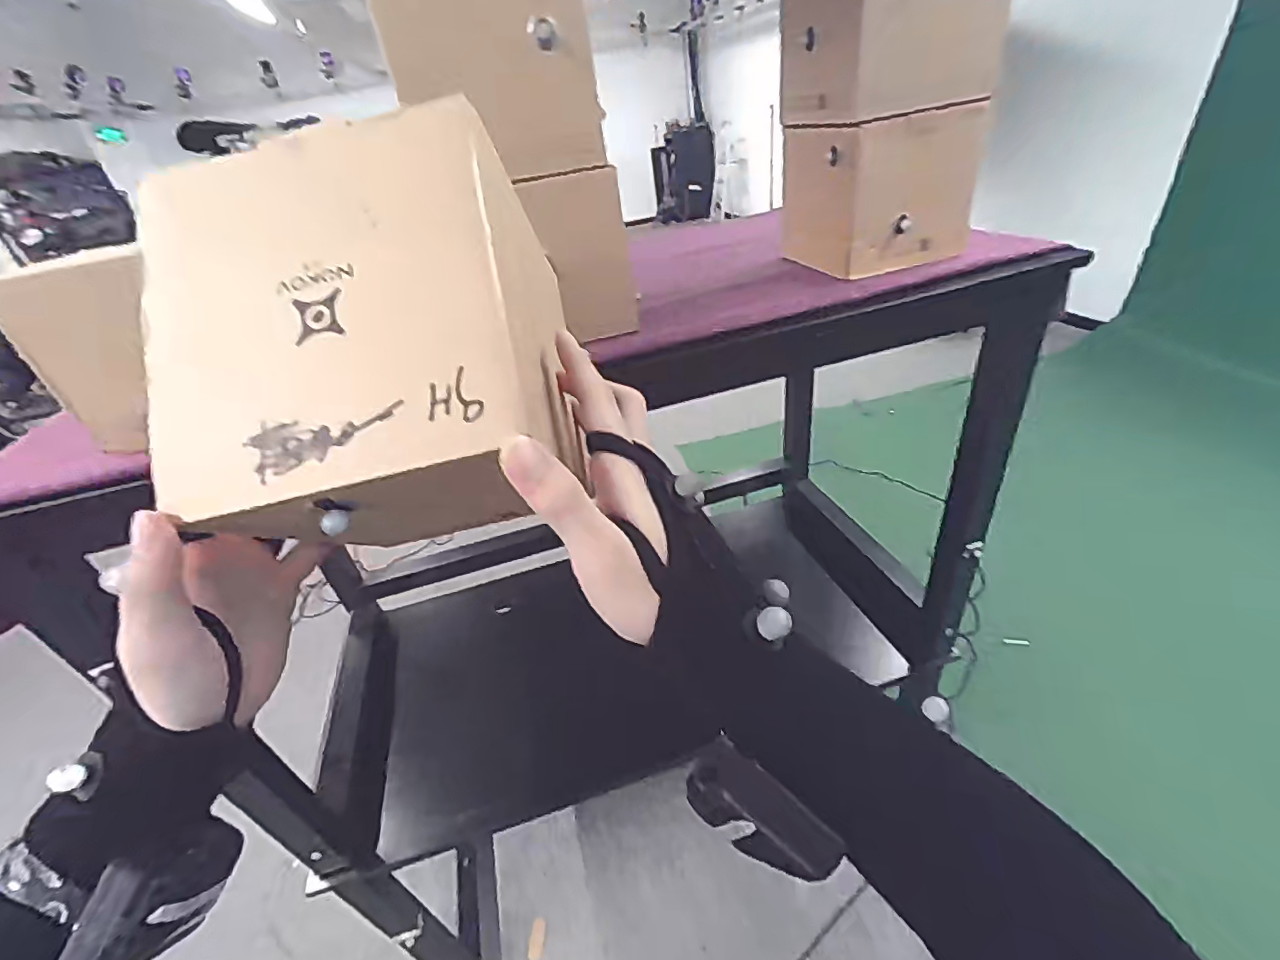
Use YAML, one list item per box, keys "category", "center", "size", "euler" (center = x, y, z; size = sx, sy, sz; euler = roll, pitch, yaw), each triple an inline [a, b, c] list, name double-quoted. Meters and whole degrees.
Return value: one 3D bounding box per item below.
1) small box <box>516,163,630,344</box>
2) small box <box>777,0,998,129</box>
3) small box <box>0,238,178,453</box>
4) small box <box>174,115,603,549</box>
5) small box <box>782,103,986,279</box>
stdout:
- category: "small box"
  center: [-0.115, -0.253, 0.624]
  size: [0.179, 0.176, 0.168]
  euler: [-16, 33, -7]
- category: "small box"
  center: [0.267, -0.499, 0.597]
  size: [0.179, 0.176, 0.168]
  euler: [-16, 36, -8]
- category: "small box"
  center: [-0.464, -0.149, 0.555]
  size: [0.168, 0.176, 0.179]
  euler: [-17, 34, -10]
- category: "small box"
  center: [-0.127, -0.063, 0.326]
  size: [0.168, 0.176, 0.179]
  euler: [-13, 78, 4]
- category: "small box"
  center: [0.293, -0.370, 0.697]
  size: [0.168, 0.176, 0.179]
  euler: [-15, 35, -8]
